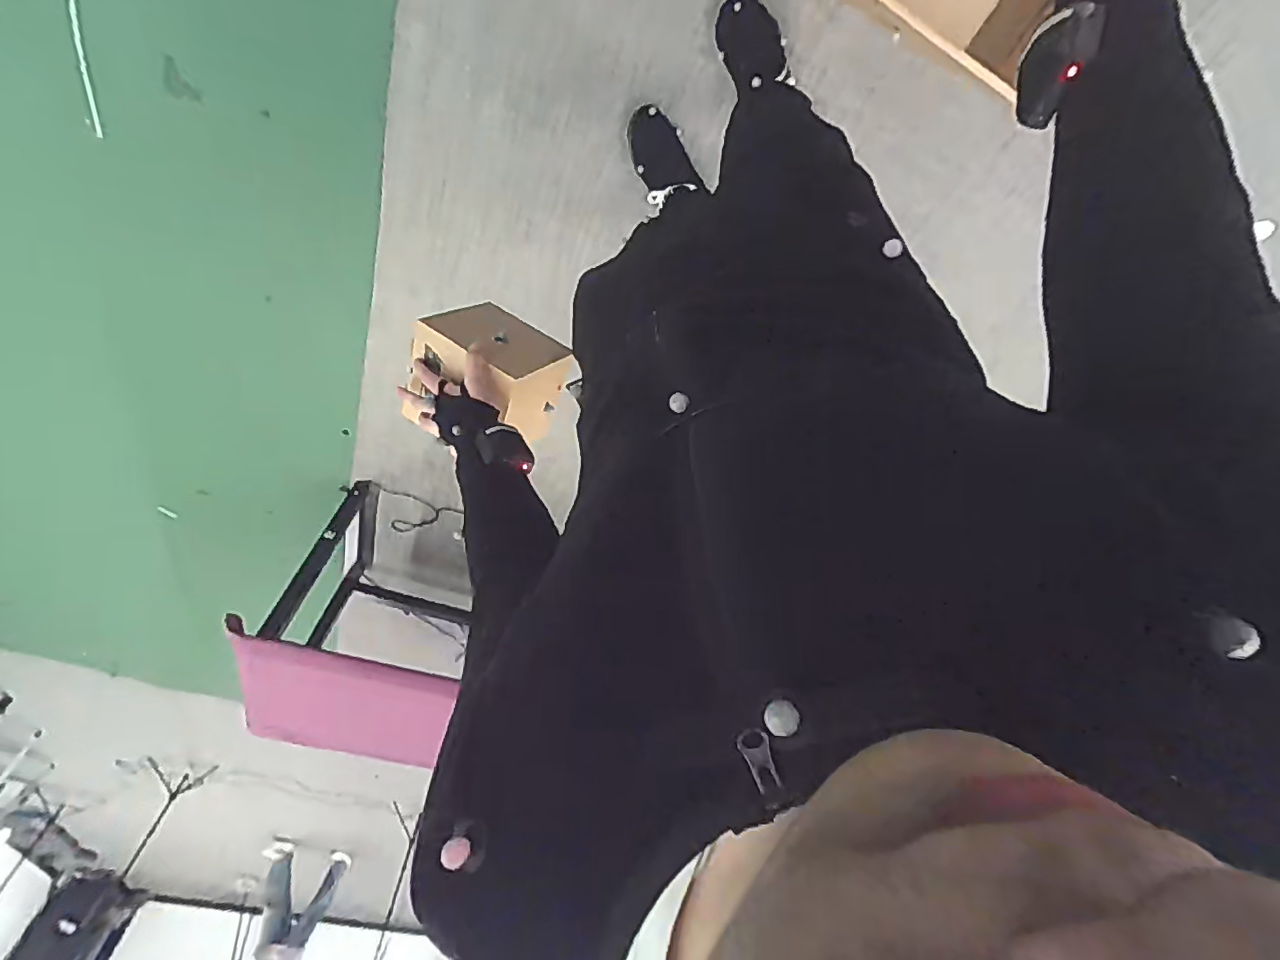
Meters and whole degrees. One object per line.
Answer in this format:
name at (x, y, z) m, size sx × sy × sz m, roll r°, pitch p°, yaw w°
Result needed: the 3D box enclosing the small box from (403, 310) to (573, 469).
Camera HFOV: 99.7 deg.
small box at (-0.235, -0.152, 0.848) m, size 0.179 × 0.176 × 0.168 m, roll 30°, pitch 124°, yaw 8°
